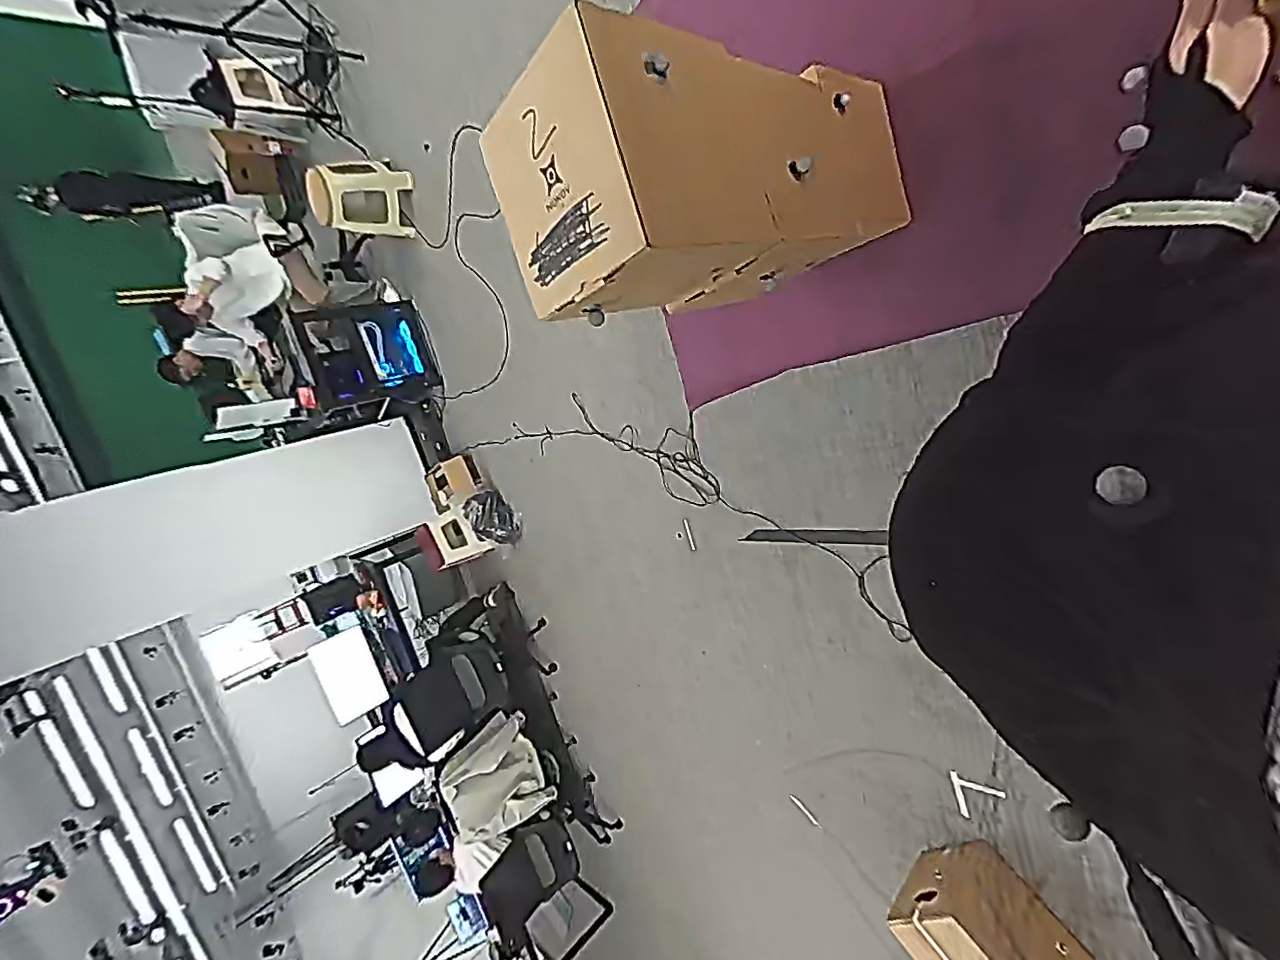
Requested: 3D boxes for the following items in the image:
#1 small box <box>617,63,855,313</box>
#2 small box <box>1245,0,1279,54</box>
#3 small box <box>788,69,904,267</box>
[{"bbox_3d":[0.110,-0.310,0.600,0.168,0.176,0.179,-15,98,51],"label":"small box"},{"bbox_3d":[0.455,-0.378,0.294,0.168,0.176,0.179,-5,95,53],"label":"small box"},{"bbox_3d":[0.217,-0.383,0.702,0.168,0.176,0.179,-7,103,50],"label":"small box"}]
